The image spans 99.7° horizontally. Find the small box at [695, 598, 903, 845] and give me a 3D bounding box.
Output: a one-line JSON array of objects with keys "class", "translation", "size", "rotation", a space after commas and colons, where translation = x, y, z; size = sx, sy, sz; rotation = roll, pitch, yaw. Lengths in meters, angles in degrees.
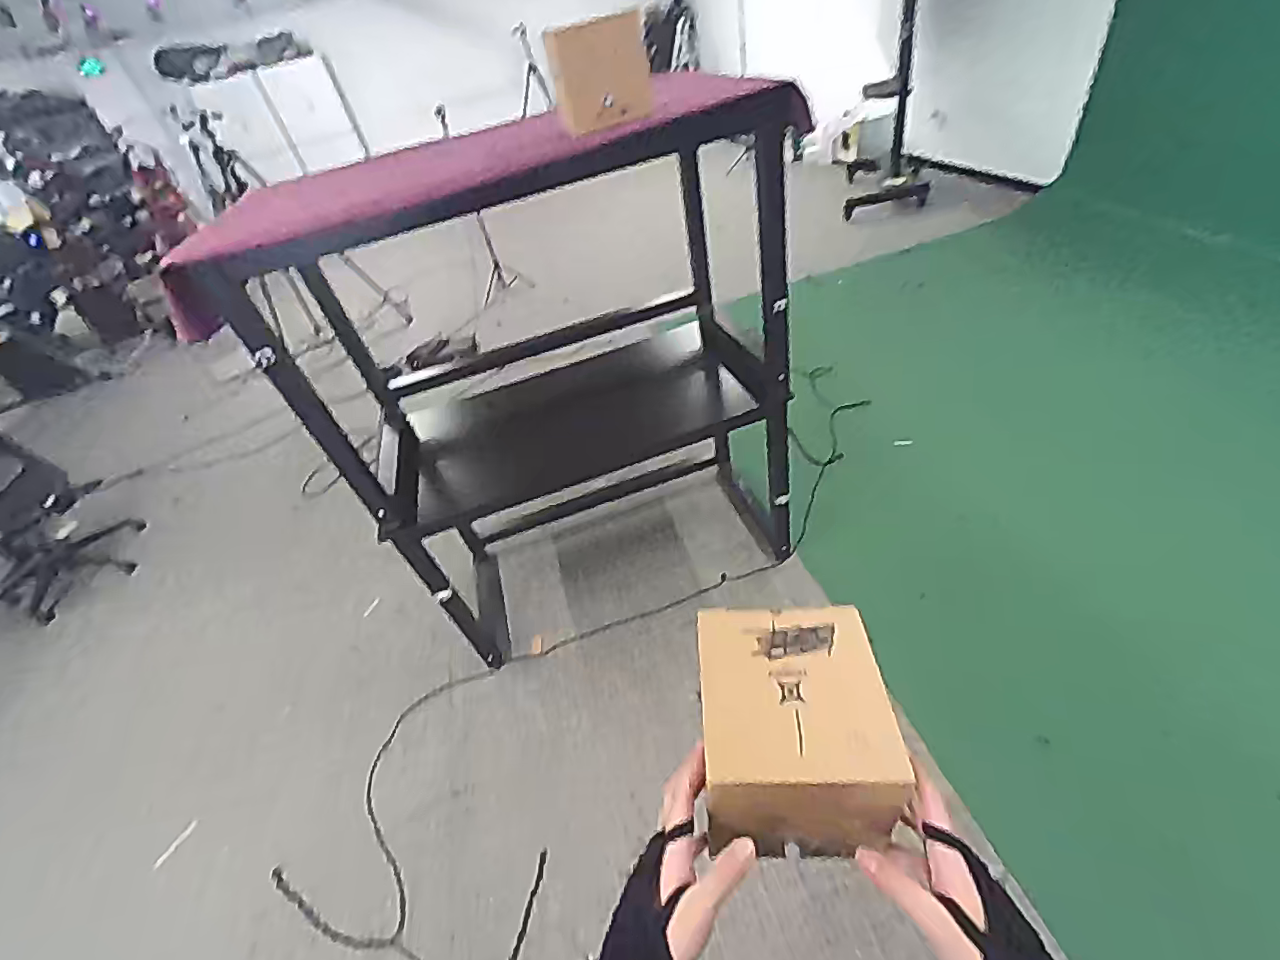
[{"class": "small box", "translation": [0.142, 0.244, 0.557], "size": [0.168, 0.176, 0.179], "rotation": [-4, 38, 4]}]
